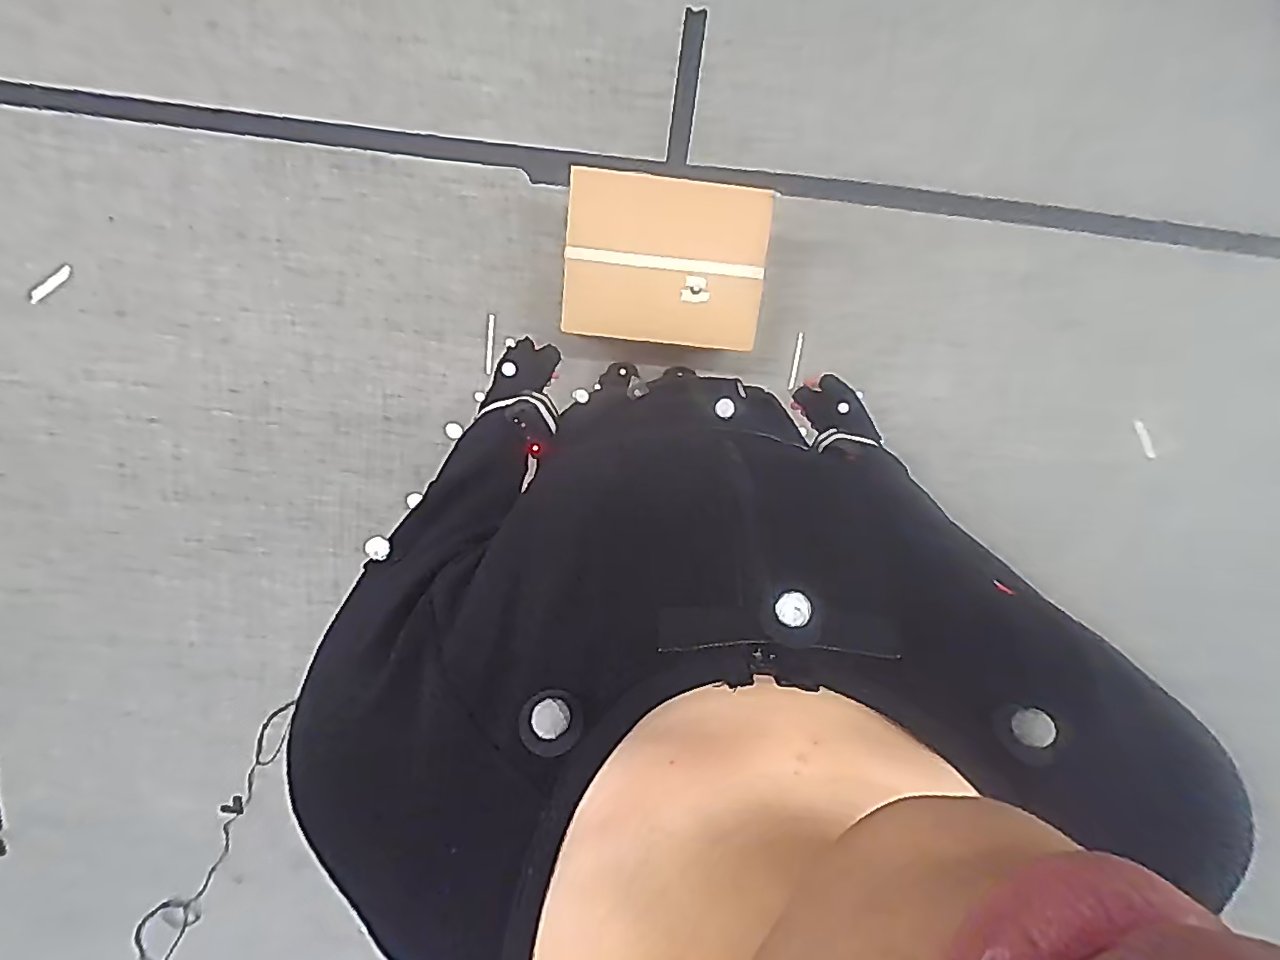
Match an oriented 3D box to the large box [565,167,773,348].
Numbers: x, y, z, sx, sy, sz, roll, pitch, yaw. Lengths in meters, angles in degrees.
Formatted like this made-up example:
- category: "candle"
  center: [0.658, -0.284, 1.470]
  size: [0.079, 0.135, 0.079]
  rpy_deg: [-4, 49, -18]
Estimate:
- category: "large box"
  center: [0.044, -0.475, 1.231]
  size: [0.408, 0.320, 0.320]
  rpy_deg: [5, 104, -4]
